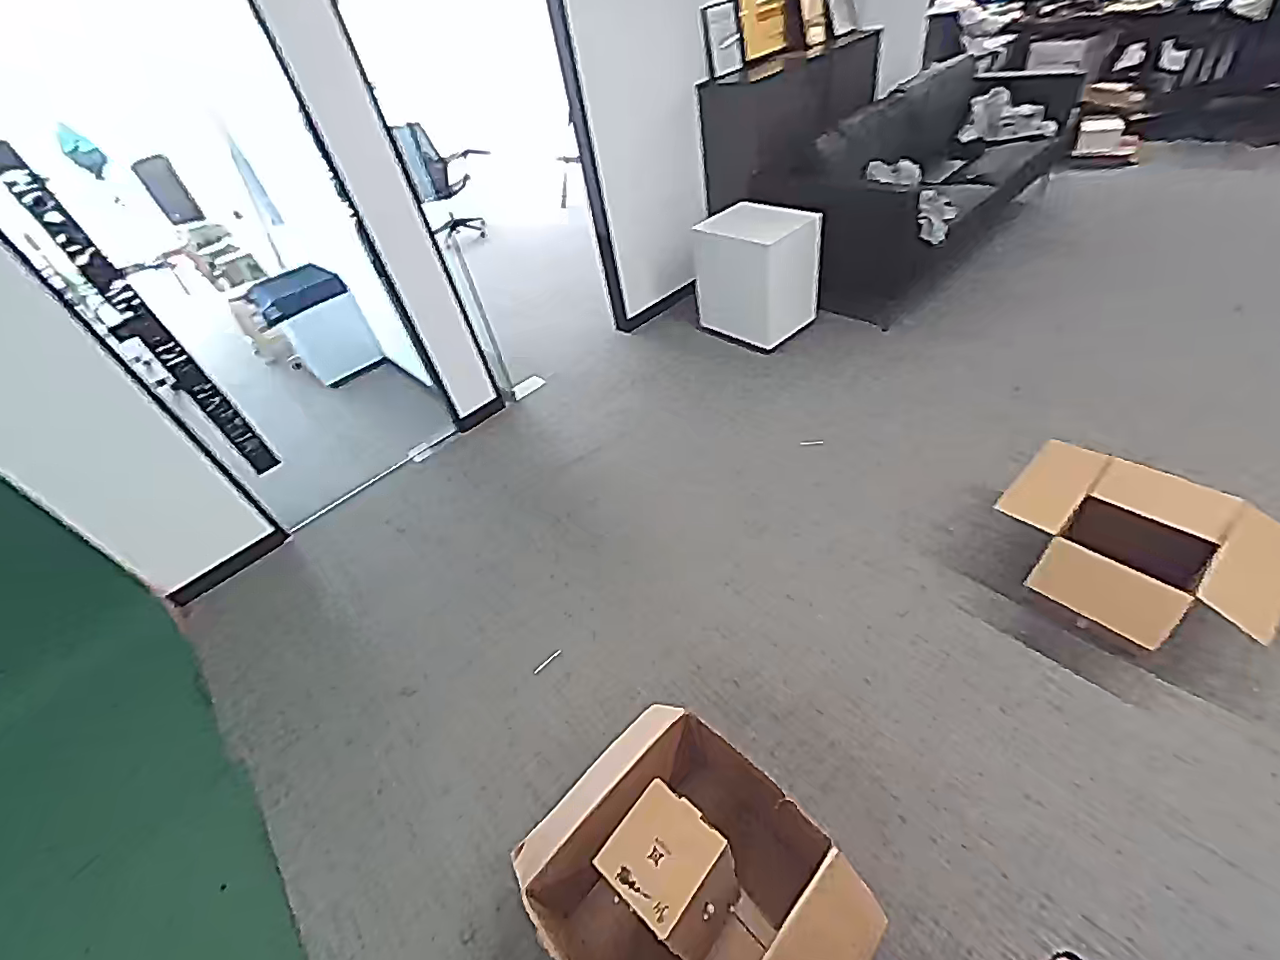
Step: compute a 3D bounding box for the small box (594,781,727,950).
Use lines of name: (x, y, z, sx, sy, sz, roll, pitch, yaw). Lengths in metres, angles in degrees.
small box: (0.045, 0.703, 0.989, 0.168, 0.176, 0.179, 24, 54, 34)
